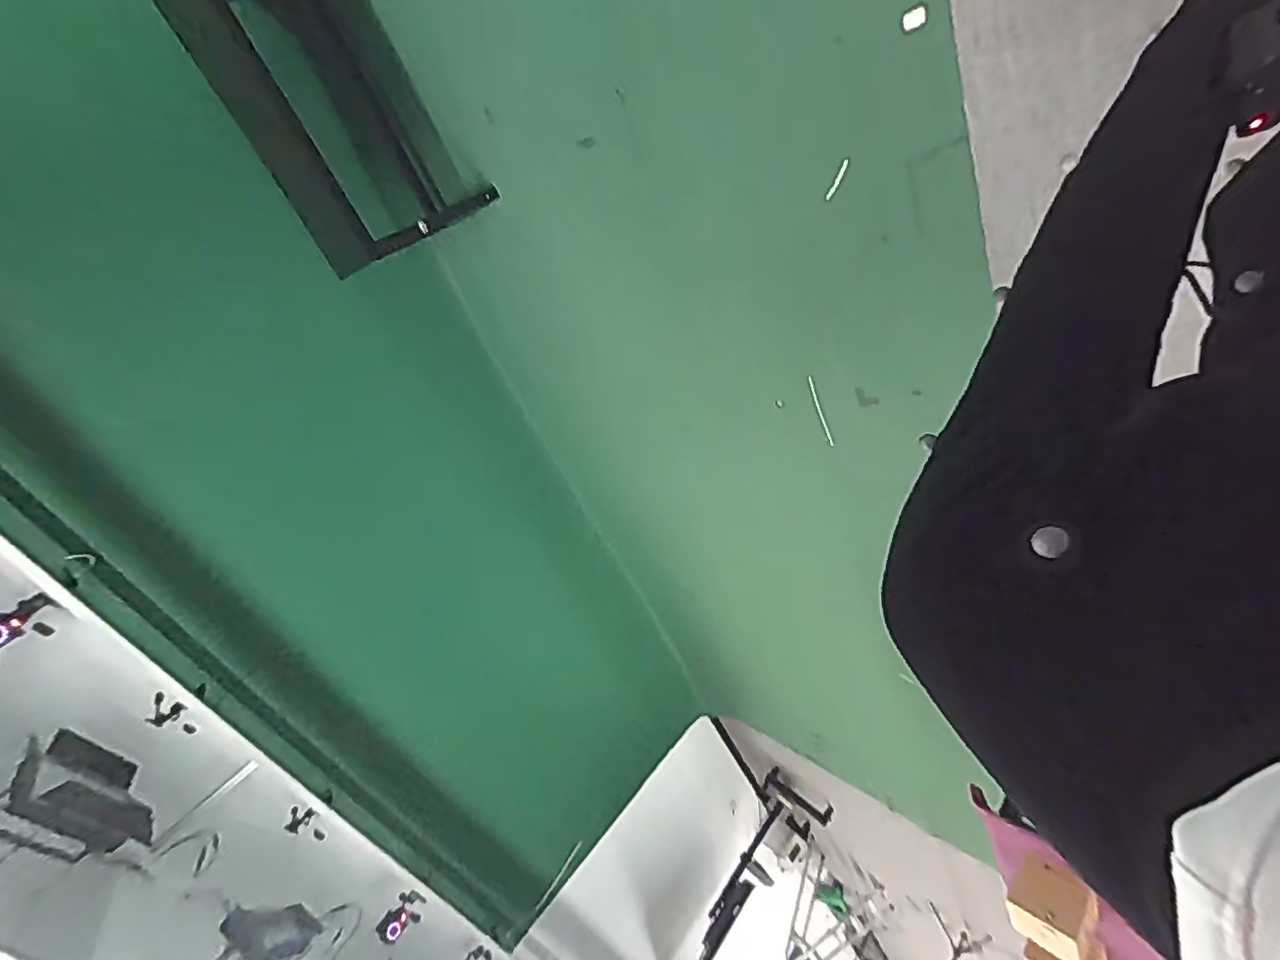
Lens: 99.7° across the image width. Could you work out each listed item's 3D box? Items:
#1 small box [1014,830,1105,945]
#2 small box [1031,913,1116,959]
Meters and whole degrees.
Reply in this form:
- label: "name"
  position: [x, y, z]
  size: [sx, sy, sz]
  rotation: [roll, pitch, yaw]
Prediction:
- label: "small box"
  position: [1.213, 1.168, 1.559]
  size: [0.168, 0.176, 0.179]
  rotation: [8, 134, 52]
- label: "small box"
  position: [1.372, 1.449, 1.706]
  size: [0.168, 0.176, 0.179]
  rotation: [4, 130, 53]
